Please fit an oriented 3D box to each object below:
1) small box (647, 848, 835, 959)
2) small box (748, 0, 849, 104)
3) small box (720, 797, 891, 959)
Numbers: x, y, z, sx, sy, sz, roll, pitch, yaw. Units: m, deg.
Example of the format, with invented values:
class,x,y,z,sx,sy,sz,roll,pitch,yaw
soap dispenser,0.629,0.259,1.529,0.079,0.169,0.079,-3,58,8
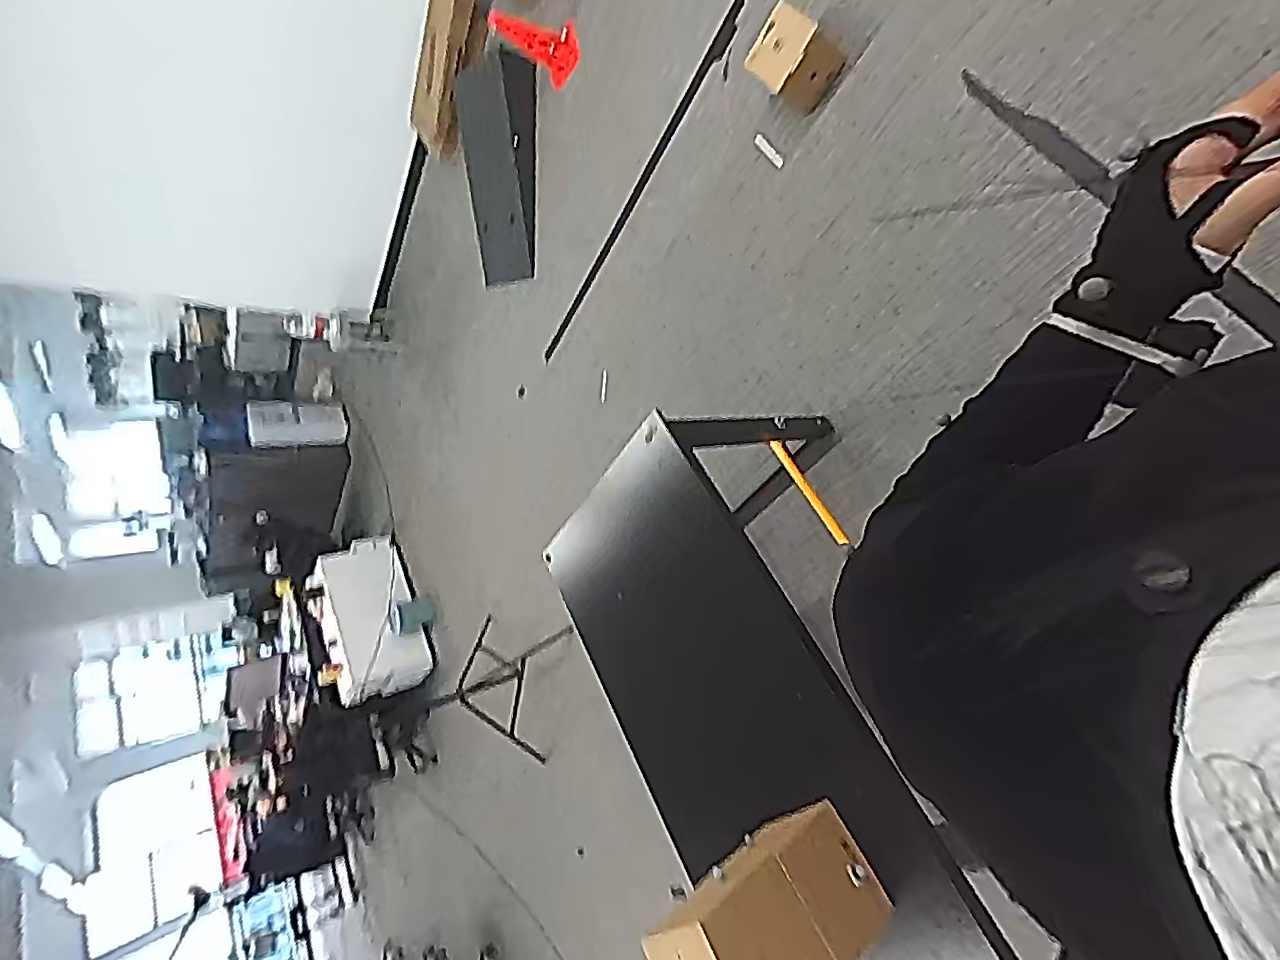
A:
class,x,y,z,sx,sy,sz,roll,pitch,yaw
small box,0.148,0.672,0.766,0.179,0.176,0.168,57,132,26
small box,0.445,-1.191,1.507,0.168,0.176,0.179,-50,60,39
small box,0.266,0.656,0.879,0.168,0.176,0.179,57,131,25
